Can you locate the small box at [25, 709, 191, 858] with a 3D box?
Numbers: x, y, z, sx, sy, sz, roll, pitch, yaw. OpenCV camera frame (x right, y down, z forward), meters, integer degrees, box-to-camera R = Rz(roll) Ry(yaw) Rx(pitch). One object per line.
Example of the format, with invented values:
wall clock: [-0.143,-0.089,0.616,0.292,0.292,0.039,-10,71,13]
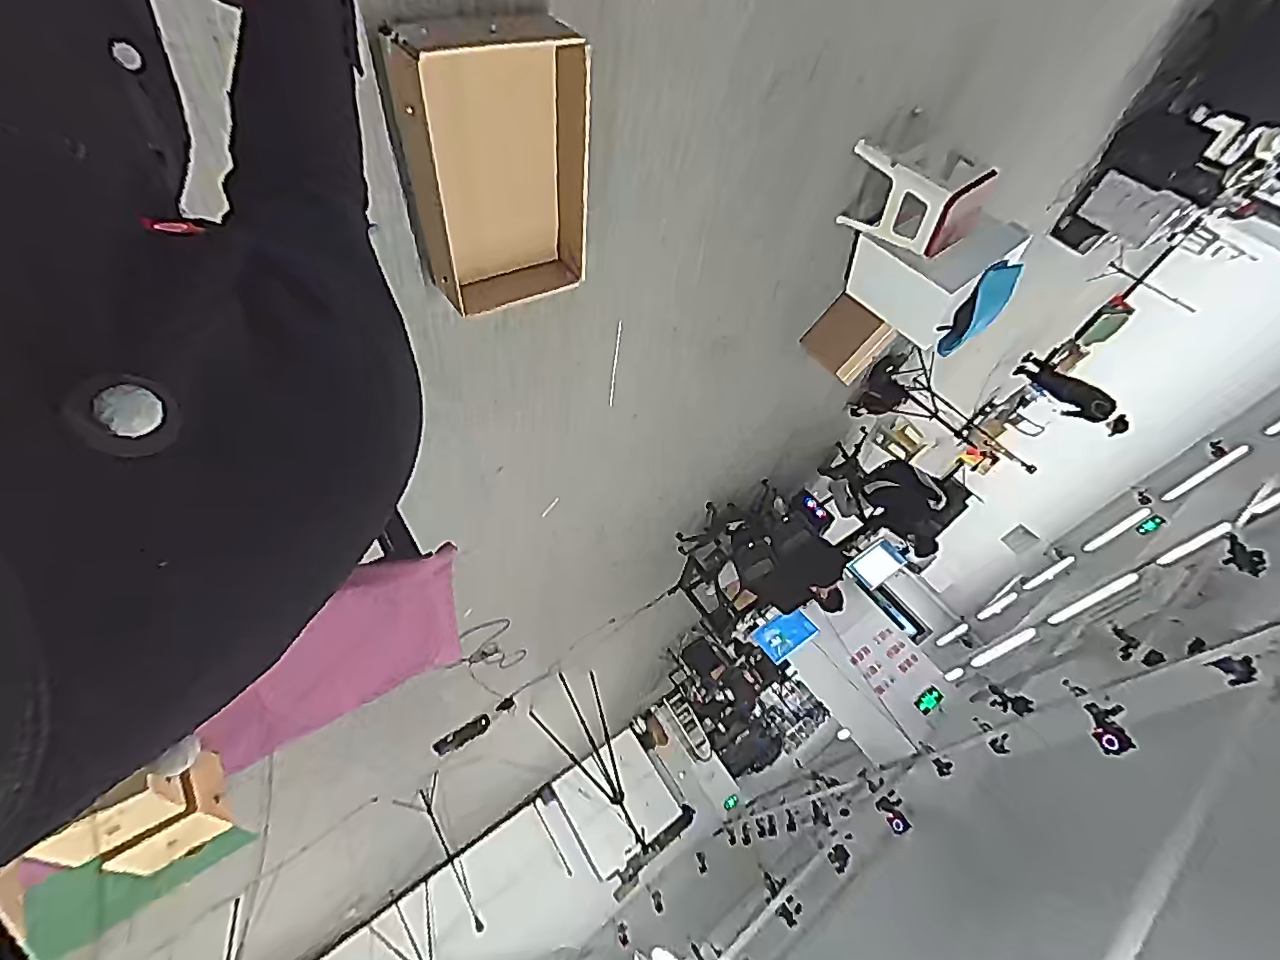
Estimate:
small box: [-0.983,0.560,1.008,0.168,0.176,0.179,-23,150,-32]

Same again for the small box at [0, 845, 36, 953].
small box: [-1.291,0.815,1.006,0.168,0.176,0.179,-21,148,-33]

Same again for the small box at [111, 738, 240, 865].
small box: [-1.025,0.699,1.185,0.168,0.176,0.179,-26,152,-27]
